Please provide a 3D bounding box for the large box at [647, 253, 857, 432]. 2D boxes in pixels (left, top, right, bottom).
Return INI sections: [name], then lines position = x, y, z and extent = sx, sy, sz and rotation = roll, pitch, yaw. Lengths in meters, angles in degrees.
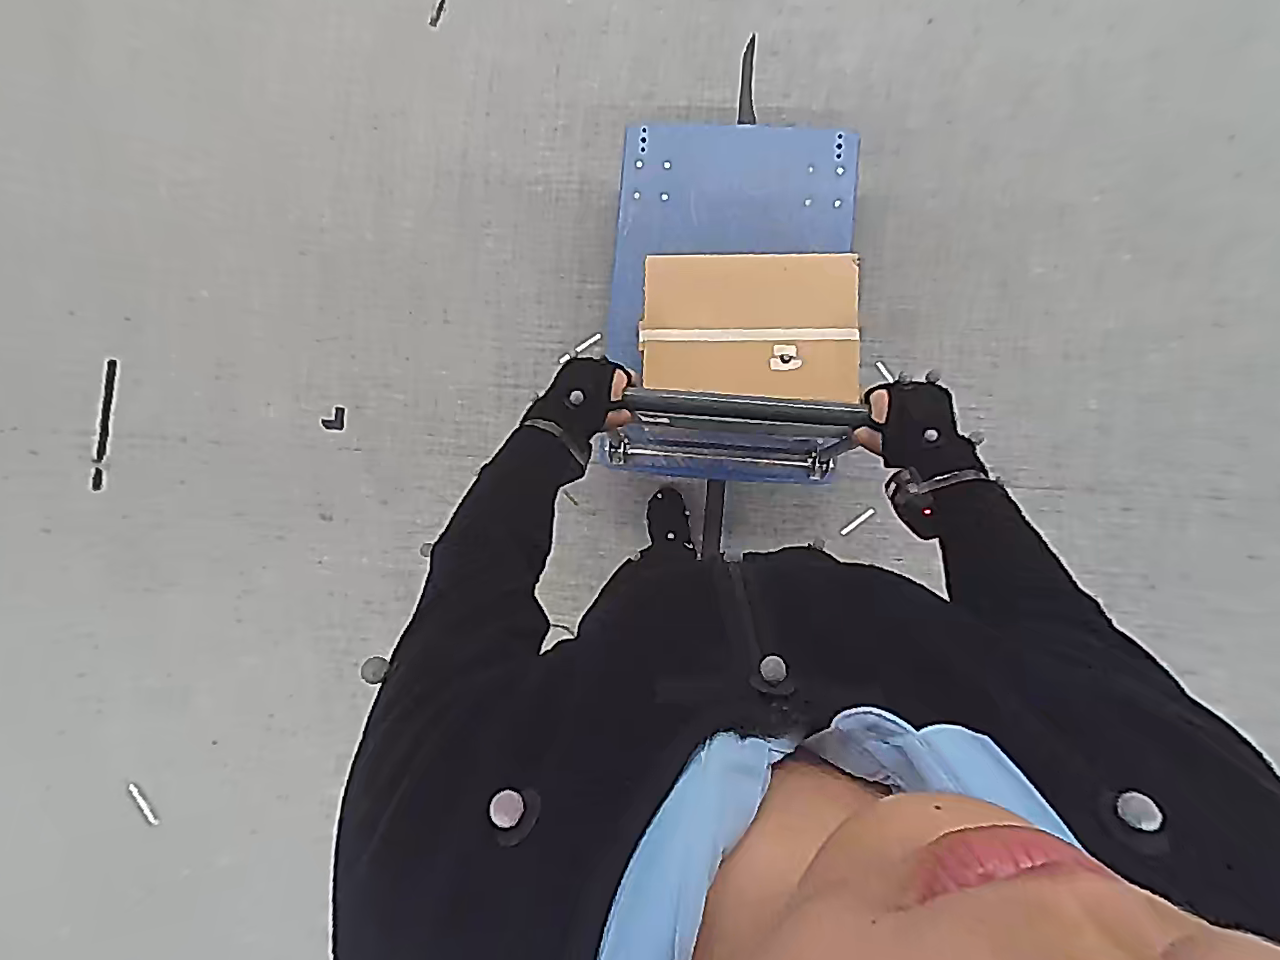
[large box]
position = 0.221, -0.278, 1.188
extent = 0.408, 0.320, 0.320
rotation = 1, 89, 3
